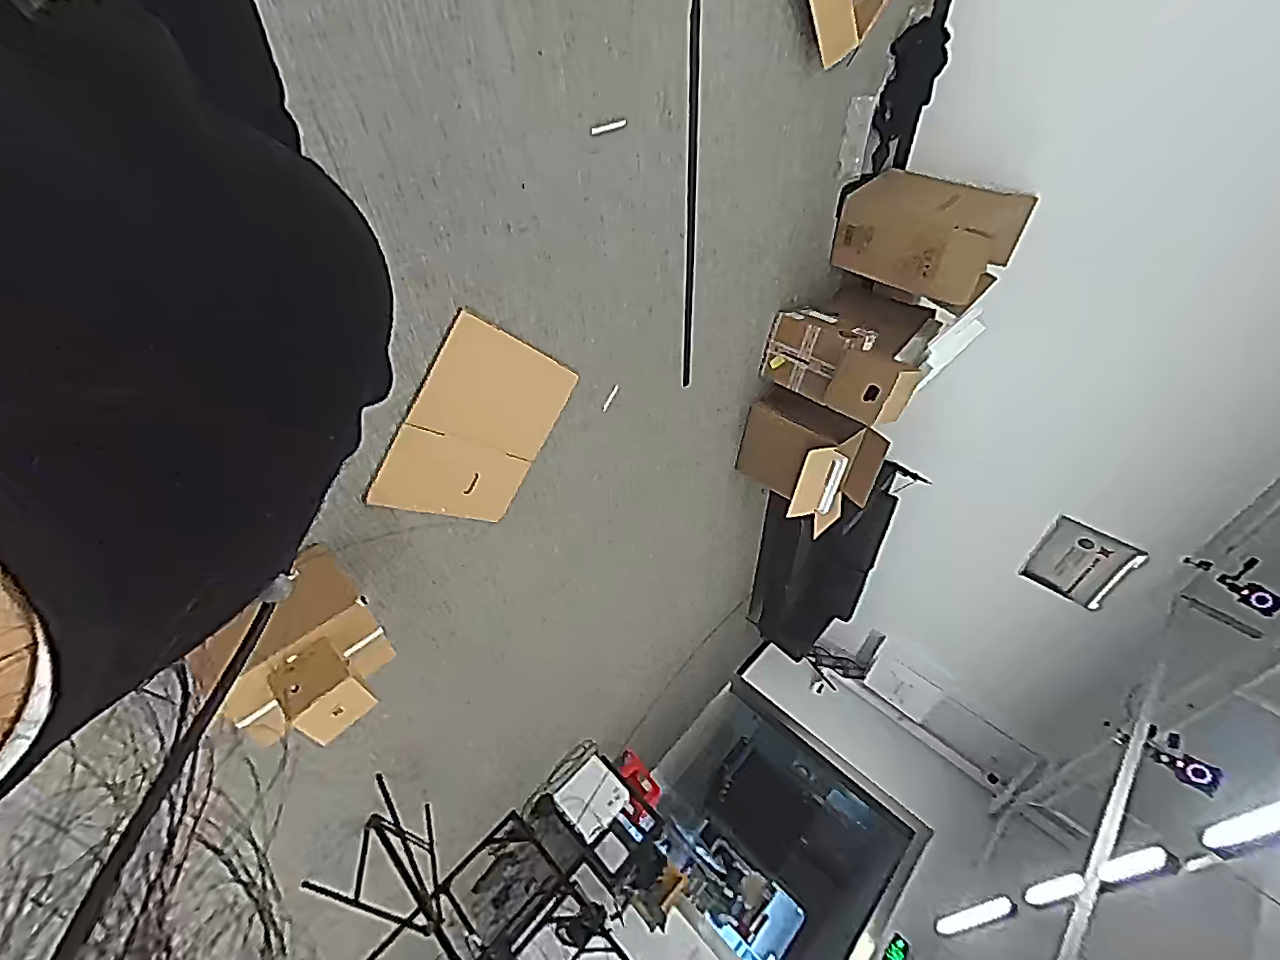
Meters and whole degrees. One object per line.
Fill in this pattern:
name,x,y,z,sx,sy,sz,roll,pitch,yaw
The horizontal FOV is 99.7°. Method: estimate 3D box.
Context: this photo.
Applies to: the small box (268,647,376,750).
small box,-0.861,0.584,1.464,0.168,0.176,0.179,-39,145,-27
